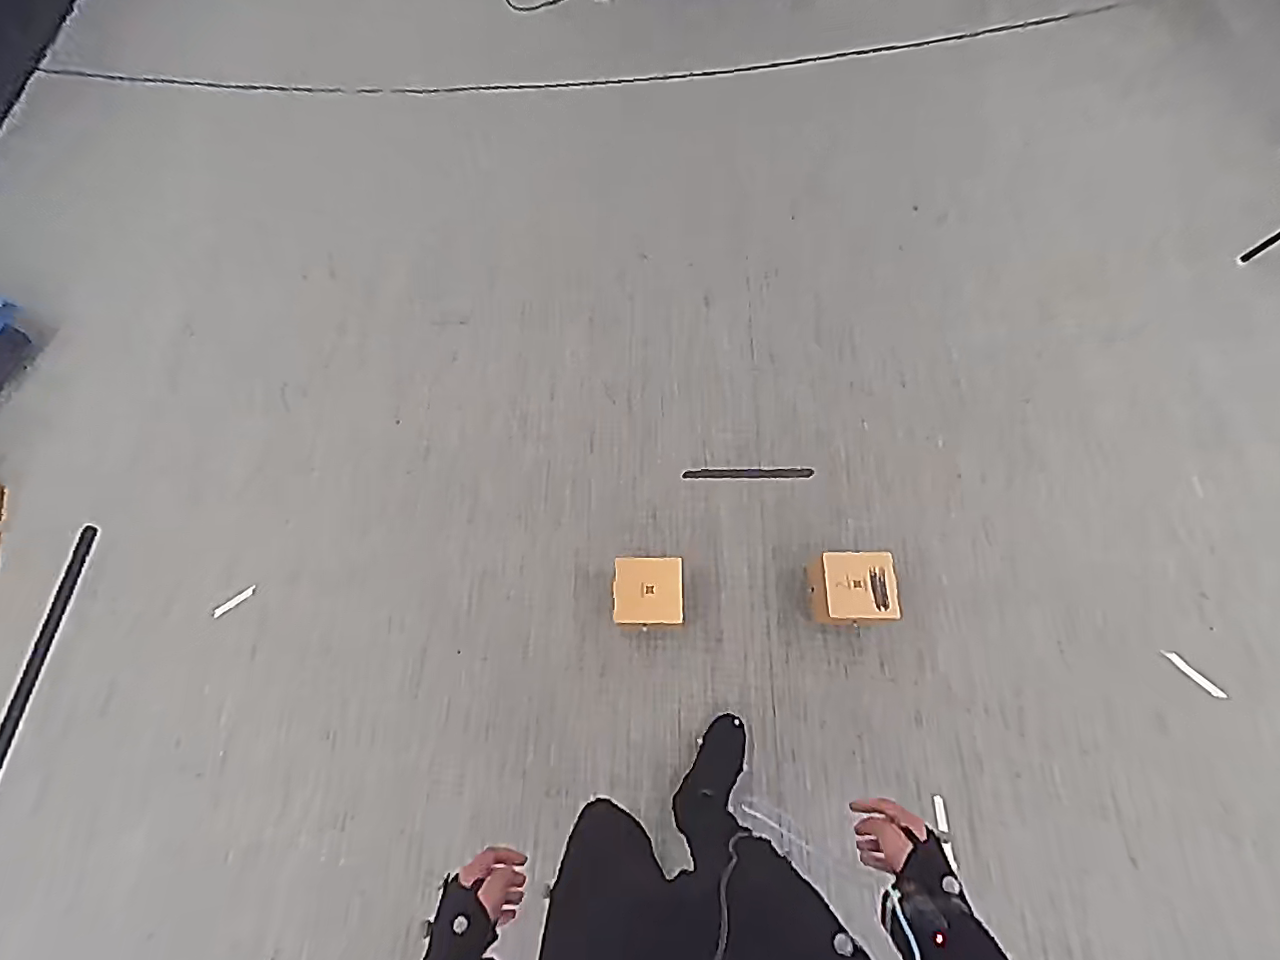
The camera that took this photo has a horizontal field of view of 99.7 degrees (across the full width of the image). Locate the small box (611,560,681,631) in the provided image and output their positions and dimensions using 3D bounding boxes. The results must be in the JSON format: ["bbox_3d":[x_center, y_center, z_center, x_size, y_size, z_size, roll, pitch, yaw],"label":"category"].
[{"bbox_3d":[0.018,0.310,1.441,0.179,0.176,0.168,-1,69,3],"label":"small box"}]
